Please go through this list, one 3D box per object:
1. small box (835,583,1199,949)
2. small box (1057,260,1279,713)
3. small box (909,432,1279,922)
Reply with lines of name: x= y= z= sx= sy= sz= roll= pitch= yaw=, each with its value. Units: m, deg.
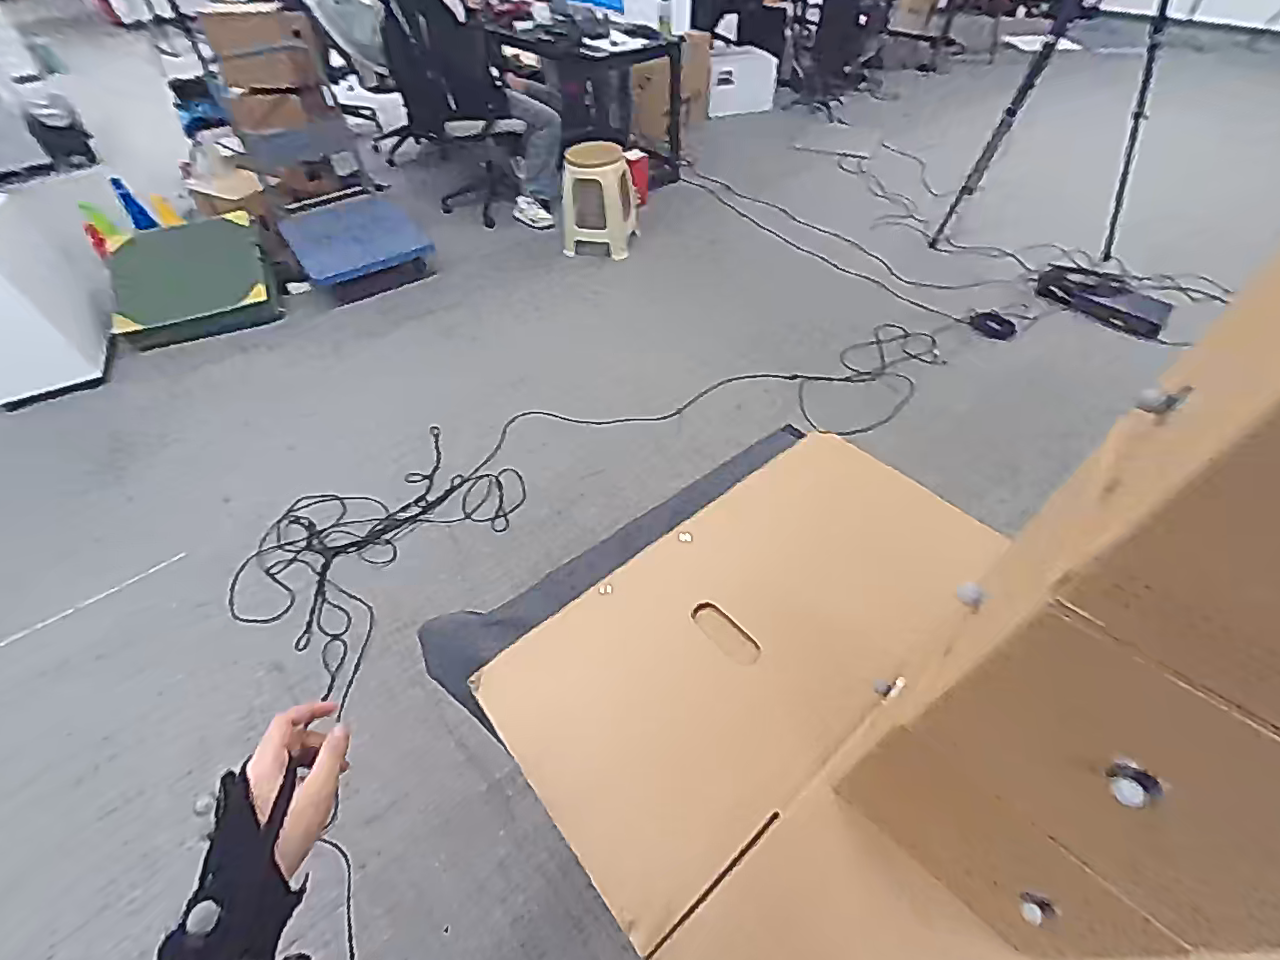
small box: x=0.289 y=0.220 z=0.430 sx=0.179 sy=0.176 sz=0.168 roll=34 pitch=55 yaw=27
small box: x=0.306 y=-0.003 z=0.191 sx=0.179 sy=0.176 sz=0.168 roll=33 pitch=54 yaw=26
small box: x=0.296 y=0.108 z=0.309 sx=0.179 sy=0.176 sz=0.168 roll=34 pitch=54 yaw=26
